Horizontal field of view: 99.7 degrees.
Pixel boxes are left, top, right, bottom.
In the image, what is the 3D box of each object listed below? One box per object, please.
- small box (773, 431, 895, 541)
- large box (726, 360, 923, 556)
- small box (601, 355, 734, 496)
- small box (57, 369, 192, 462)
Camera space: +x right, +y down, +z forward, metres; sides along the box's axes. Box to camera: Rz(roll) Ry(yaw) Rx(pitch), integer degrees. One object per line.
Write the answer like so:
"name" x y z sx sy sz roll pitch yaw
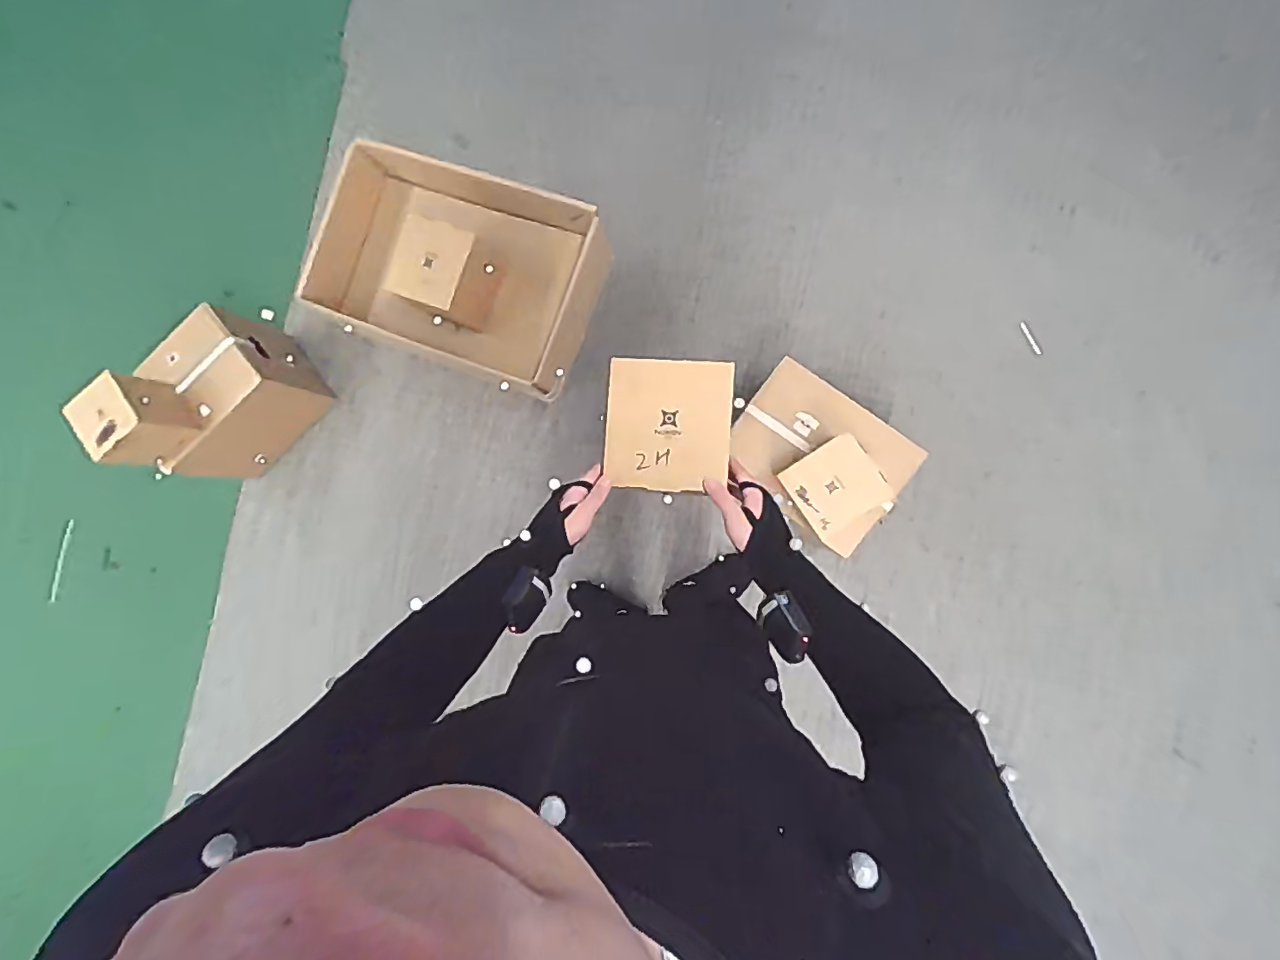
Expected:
"small box" 0.410 0.013 1.178 0.179 0.176 0.168 -33 84 7
"large box" 0.433 -0.048 1.426 0.408 0.320 0.320 37 92 9
"small box" 0.042 -0.070 0.784 0.168 0.176 0.179 3 88 6
"small box" -1.353 -0.161 1.431 0.168 0.176 0.179 -38 83 4
